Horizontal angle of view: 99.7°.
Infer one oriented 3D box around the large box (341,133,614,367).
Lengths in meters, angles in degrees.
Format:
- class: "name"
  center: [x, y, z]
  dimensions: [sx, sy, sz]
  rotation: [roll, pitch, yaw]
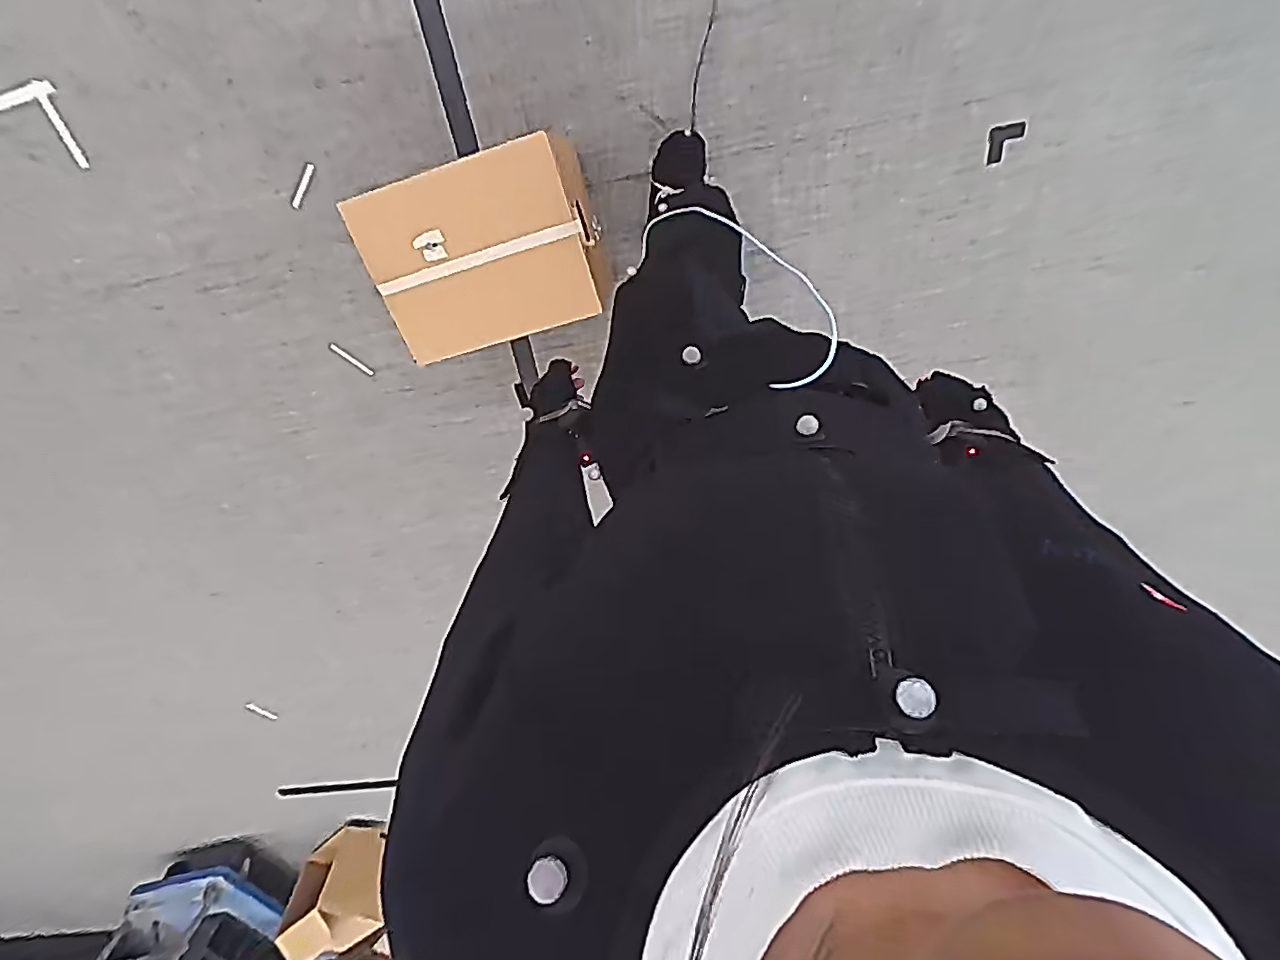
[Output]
- class: "large box"
  center: [-0.300, -0.478, 1.132]
  dimensions: [0.408, 0.320, 0.320]
  rotation: [-13, 117, 10]
